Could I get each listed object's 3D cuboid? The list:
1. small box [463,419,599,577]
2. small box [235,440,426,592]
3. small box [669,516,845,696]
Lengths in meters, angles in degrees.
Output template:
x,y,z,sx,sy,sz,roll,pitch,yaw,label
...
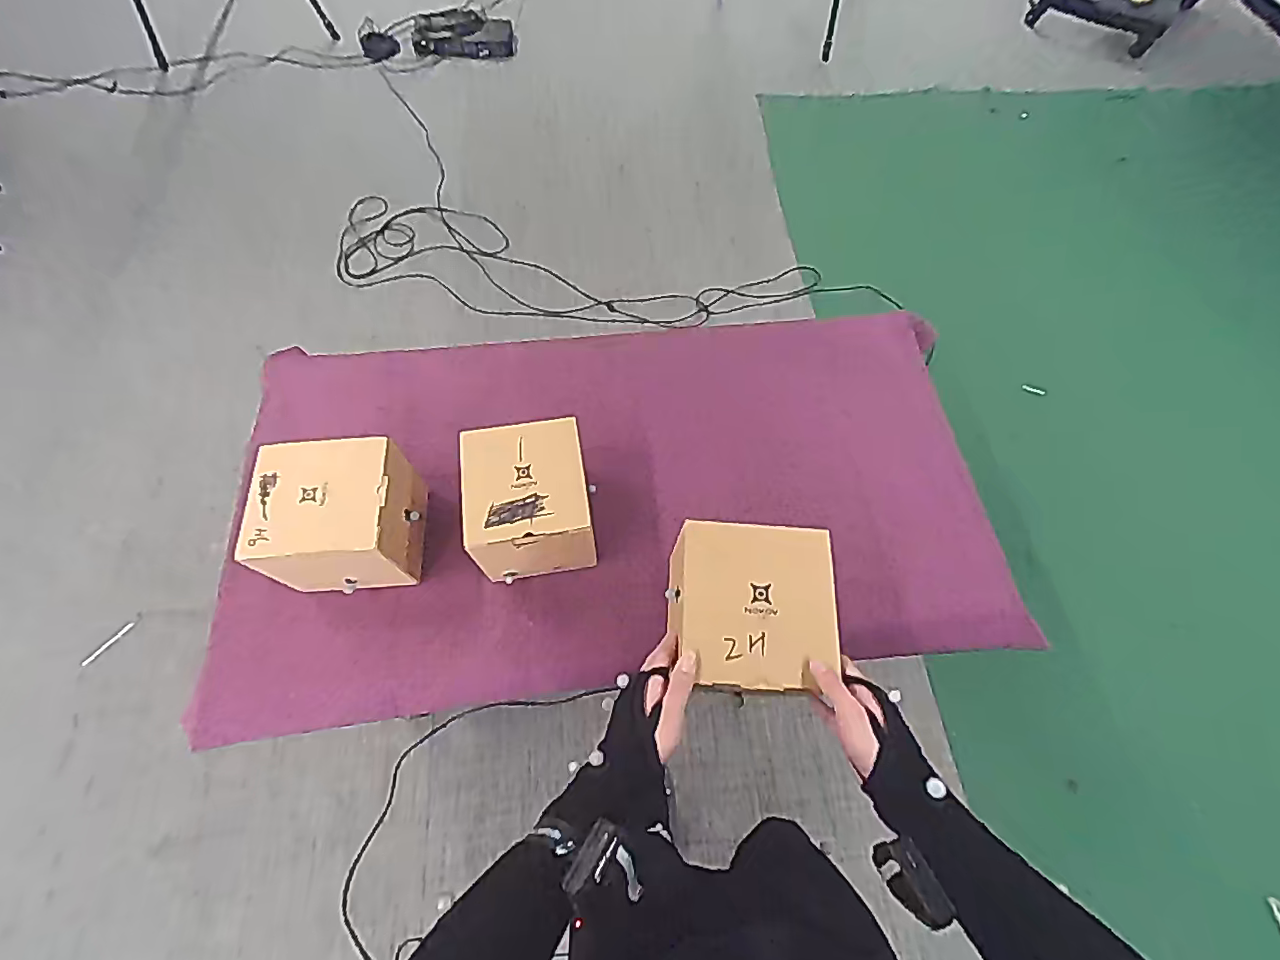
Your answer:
x,y,z,sx,sy,sz,roll,pitch,yaw,label
-0.154,0.035,0.794,0.168,0.176,0.179,-8,64,-6,small box
-0.420,0.057,0.774,0.179,0.176,0.168,-3,64,-5,small box
0.127,0.157,0.646,0.168,0.176,0.179,5,67,-1,small box
